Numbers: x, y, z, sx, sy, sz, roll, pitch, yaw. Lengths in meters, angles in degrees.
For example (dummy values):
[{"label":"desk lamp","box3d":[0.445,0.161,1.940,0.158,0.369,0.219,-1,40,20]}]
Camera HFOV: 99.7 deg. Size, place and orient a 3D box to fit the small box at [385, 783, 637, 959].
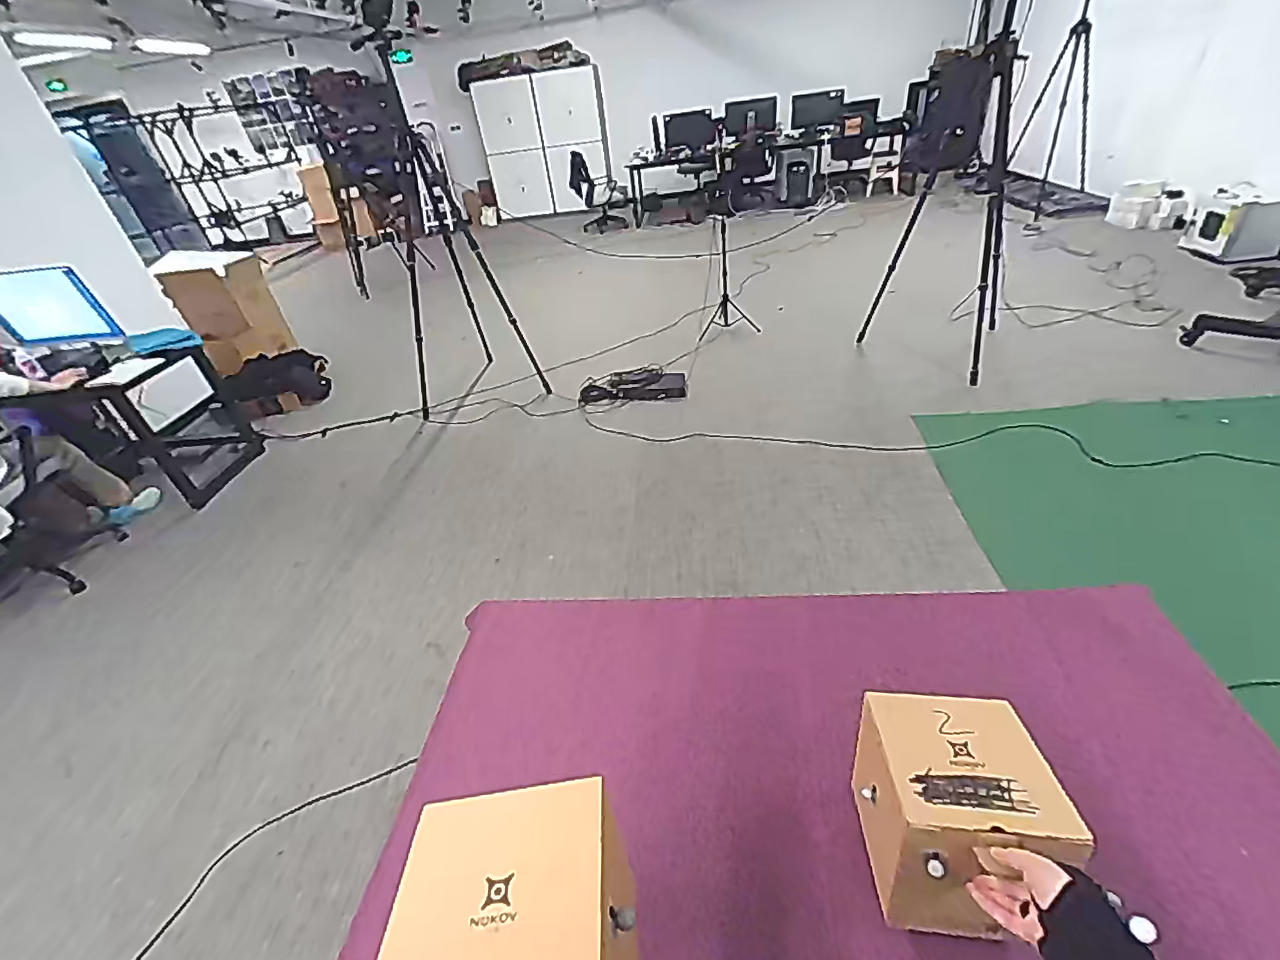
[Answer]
[{"label":"small box","box3d":[-0.096,0.400,0.458,0.168,0.176,0.179,-10,26,1]}]
